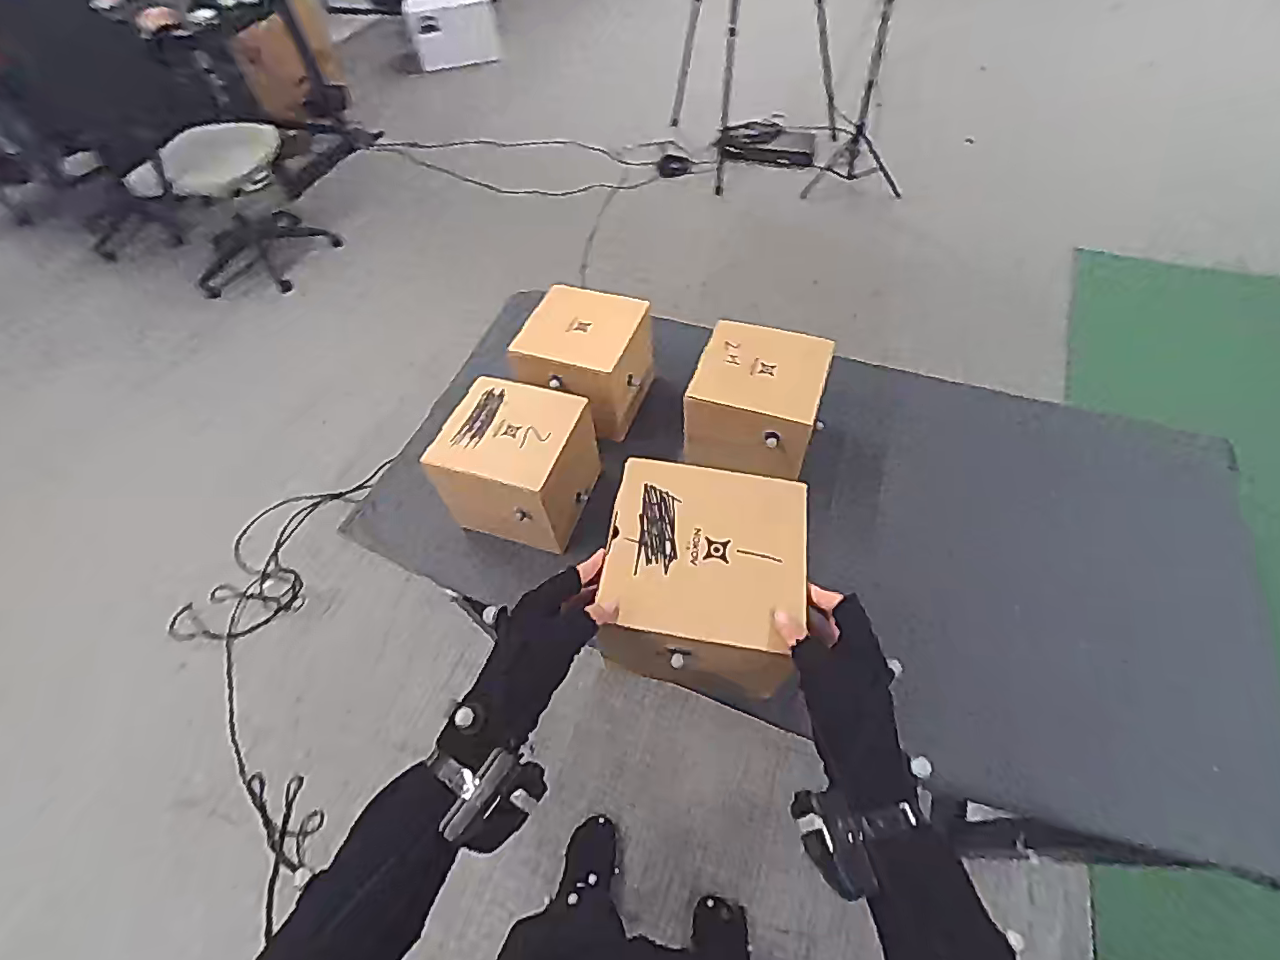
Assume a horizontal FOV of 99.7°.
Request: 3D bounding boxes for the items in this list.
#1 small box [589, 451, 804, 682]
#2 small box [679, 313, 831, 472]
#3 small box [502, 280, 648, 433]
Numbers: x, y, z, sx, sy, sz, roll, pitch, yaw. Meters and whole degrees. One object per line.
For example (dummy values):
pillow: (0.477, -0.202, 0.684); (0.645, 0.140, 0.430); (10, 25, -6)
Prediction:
small box: (0.057, 0.093, 0.546); (0.179, 0.176, 0.168); (9, 59, 5)
small box: (0.168, -0.119, 0.815); (0.179, 0.176, 0.168); (15, 59, 15)
small box: (-0.094, -0.199, 0.898); (0.179, 0.176, 0.168); (15, 59, 15)
